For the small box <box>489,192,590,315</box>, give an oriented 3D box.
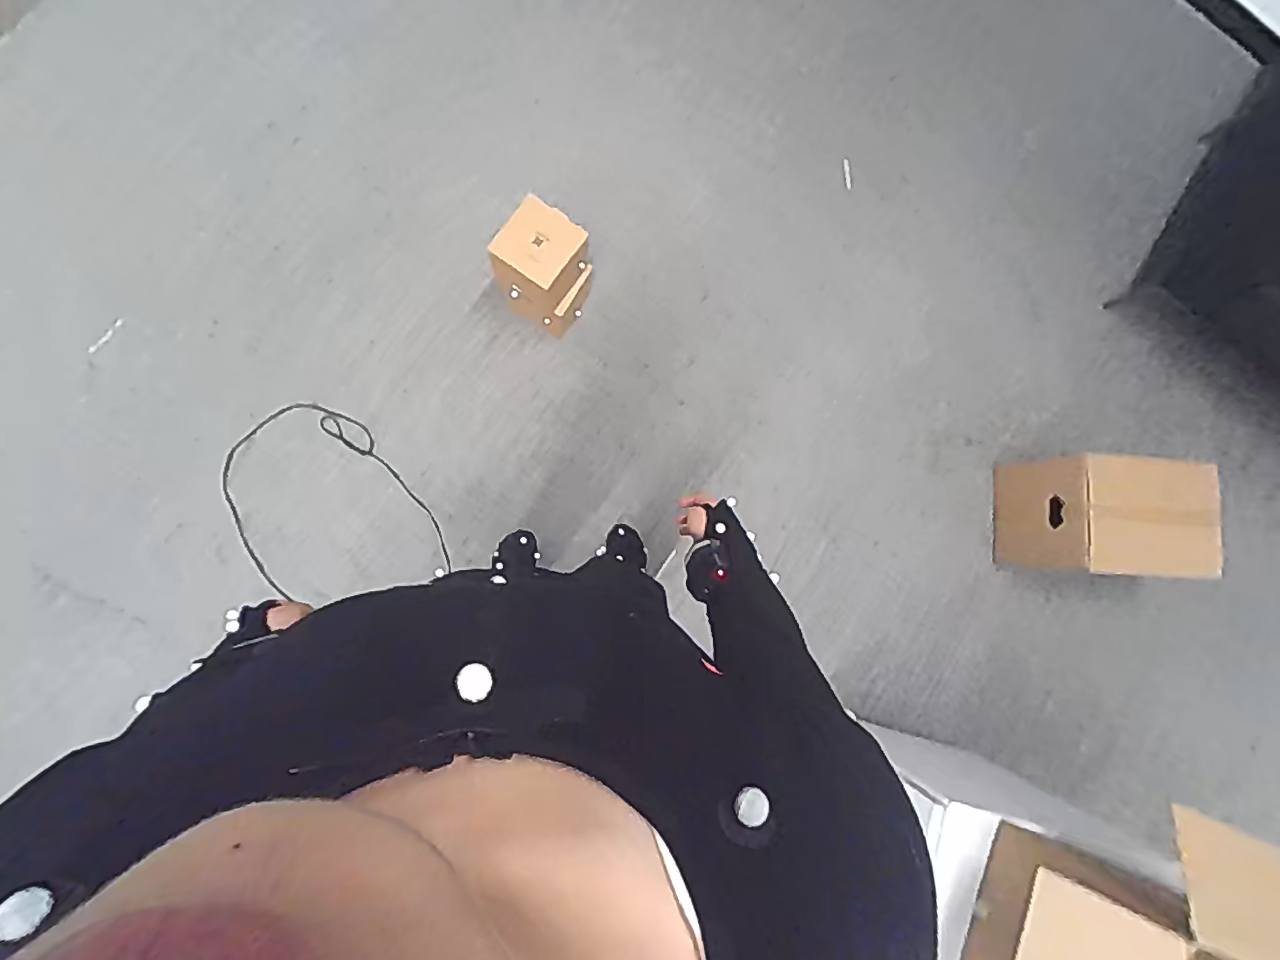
[{"bbox_3d":[-0.241,-0.538,1.308,0.168,0.176,0.179,34,81,-3],"label":"small box"}]
